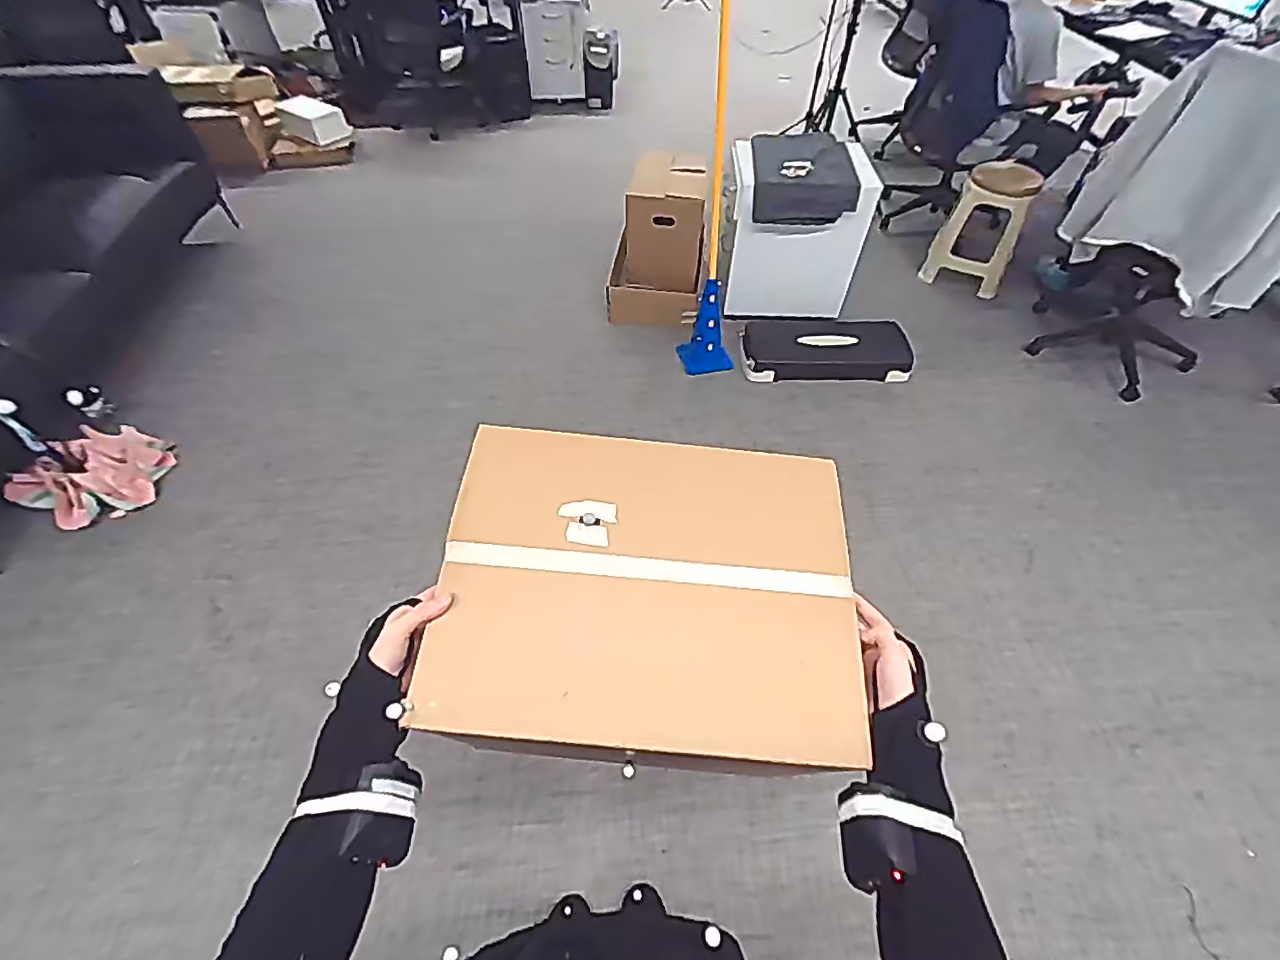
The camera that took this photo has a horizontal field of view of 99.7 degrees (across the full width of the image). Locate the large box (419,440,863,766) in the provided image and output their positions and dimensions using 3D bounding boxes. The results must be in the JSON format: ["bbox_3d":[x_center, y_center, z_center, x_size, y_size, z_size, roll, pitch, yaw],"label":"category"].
[{"bbox_3d":[0.006,0.173,0.679,0.408,0.320,0.320,5,59,0],"label":"large box"}]
